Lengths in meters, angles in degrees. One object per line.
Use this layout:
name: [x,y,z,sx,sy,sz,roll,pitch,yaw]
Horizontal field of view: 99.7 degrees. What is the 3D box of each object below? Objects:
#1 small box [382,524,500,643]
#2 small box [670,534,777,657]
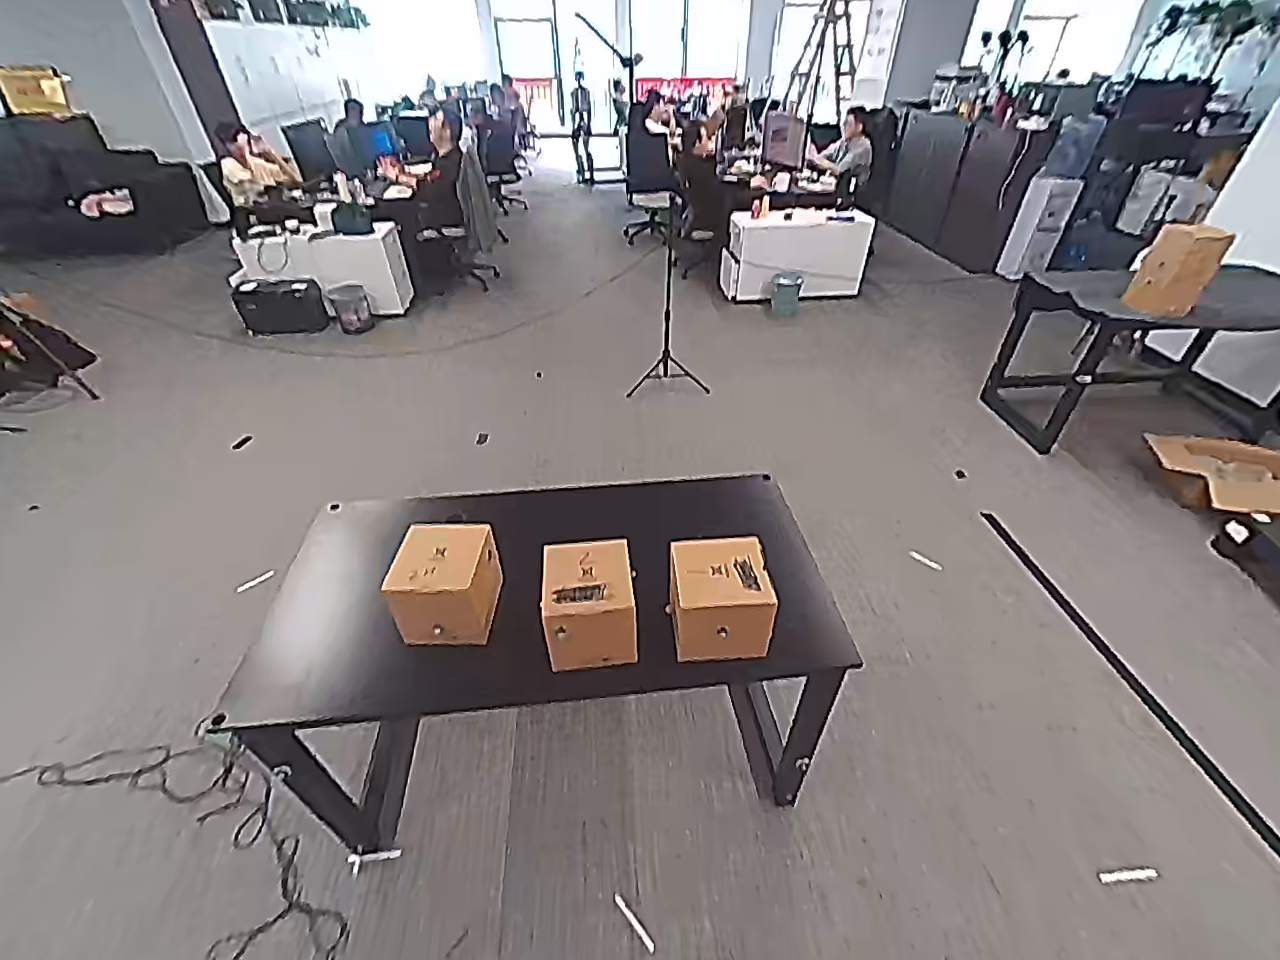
small box: [-0.389,0.208,1.097,0.168,0.176,0.179,-1,39,1]
small box: [0.153,0.227,1.060,0.179,0.176,0.168,-4,38,-1]
